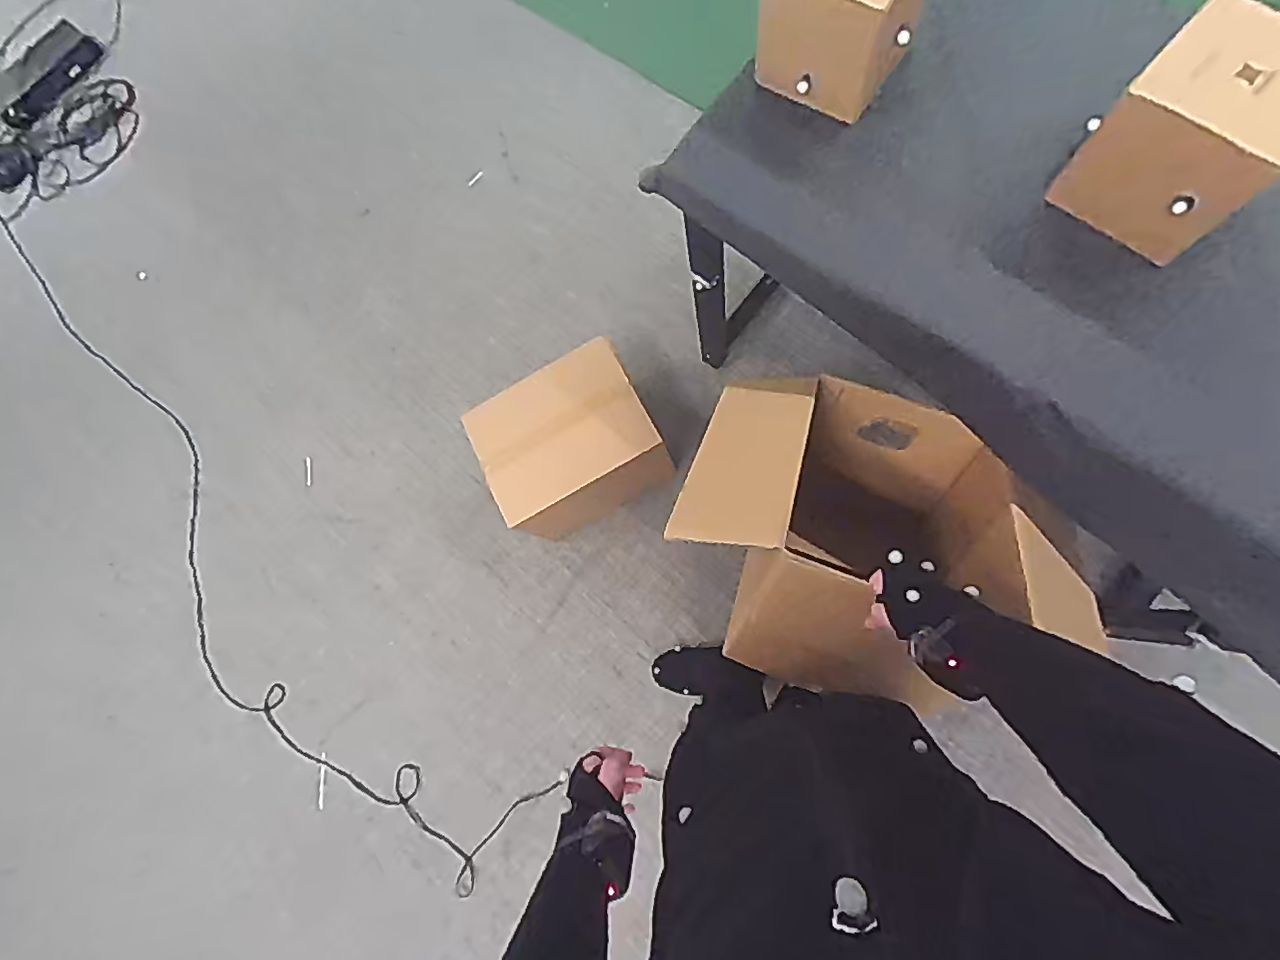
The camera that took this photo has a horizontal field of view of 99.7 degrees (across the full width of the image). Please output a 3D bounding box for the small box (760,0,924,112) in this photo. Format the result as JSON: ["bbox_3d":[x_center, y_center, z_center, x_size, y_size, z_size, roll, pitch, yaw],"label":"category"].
[{"bbox_3d":[0.287,-0.665,0.756,0.179,0.176,0.168,34,86,13],"label":"small box"}]

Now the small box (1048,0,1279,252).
[{"bbox_3d":[0.654,-0.408,0.644,0.179,0.176,0.168,43,87,16],"label":"small box"}]
